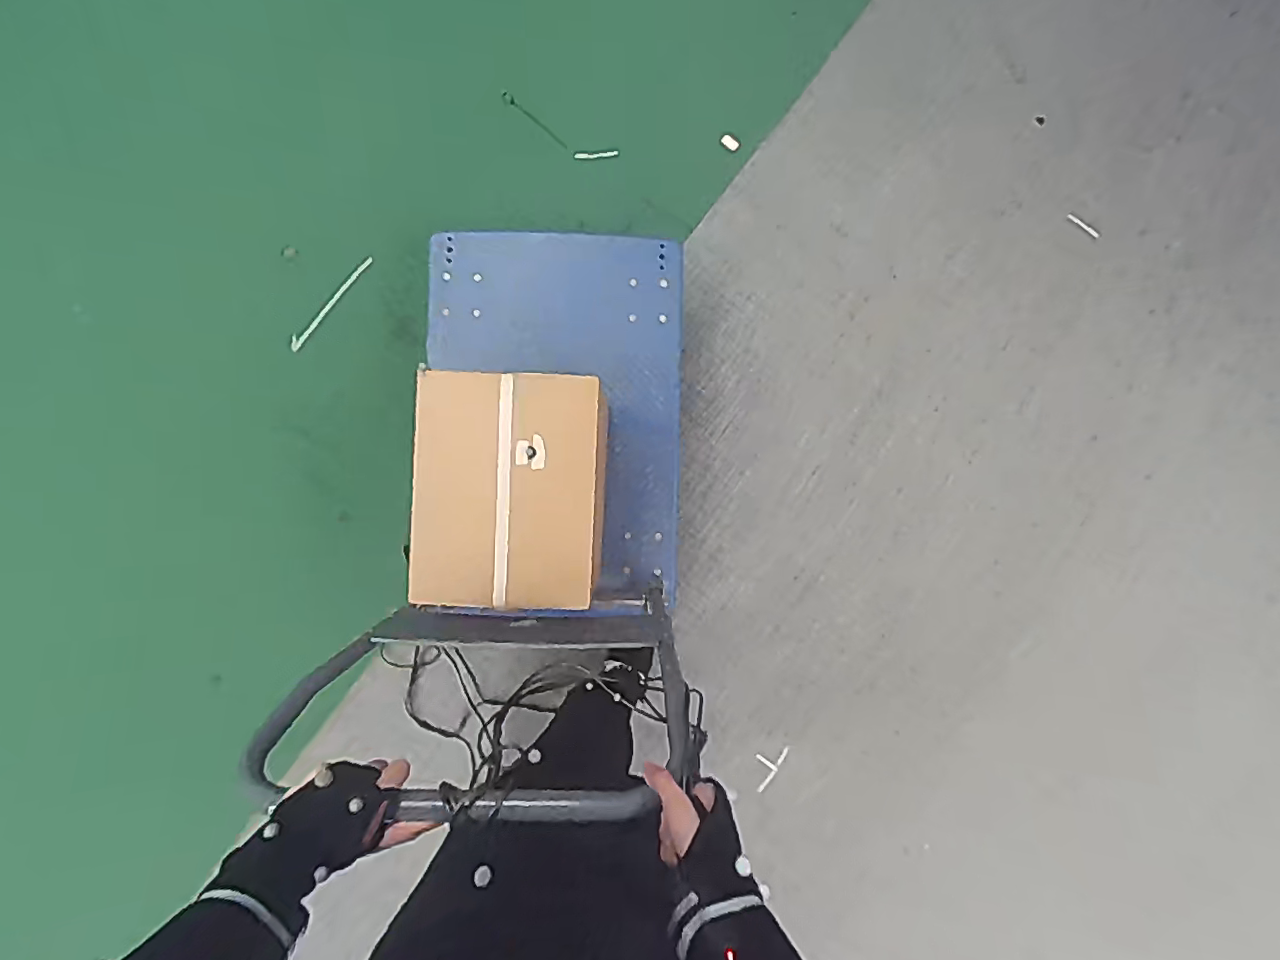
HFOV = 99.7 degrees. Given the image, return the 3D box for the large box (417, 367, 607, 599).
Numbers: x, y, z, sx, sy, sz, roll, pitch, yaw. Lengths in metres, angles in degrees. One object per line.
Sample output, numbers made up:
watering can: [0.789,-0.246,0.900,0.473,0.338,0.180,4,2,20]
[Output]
large box: [-0.228,0.008,1.081,0.320,0.320,0.408,1,90,-1]
